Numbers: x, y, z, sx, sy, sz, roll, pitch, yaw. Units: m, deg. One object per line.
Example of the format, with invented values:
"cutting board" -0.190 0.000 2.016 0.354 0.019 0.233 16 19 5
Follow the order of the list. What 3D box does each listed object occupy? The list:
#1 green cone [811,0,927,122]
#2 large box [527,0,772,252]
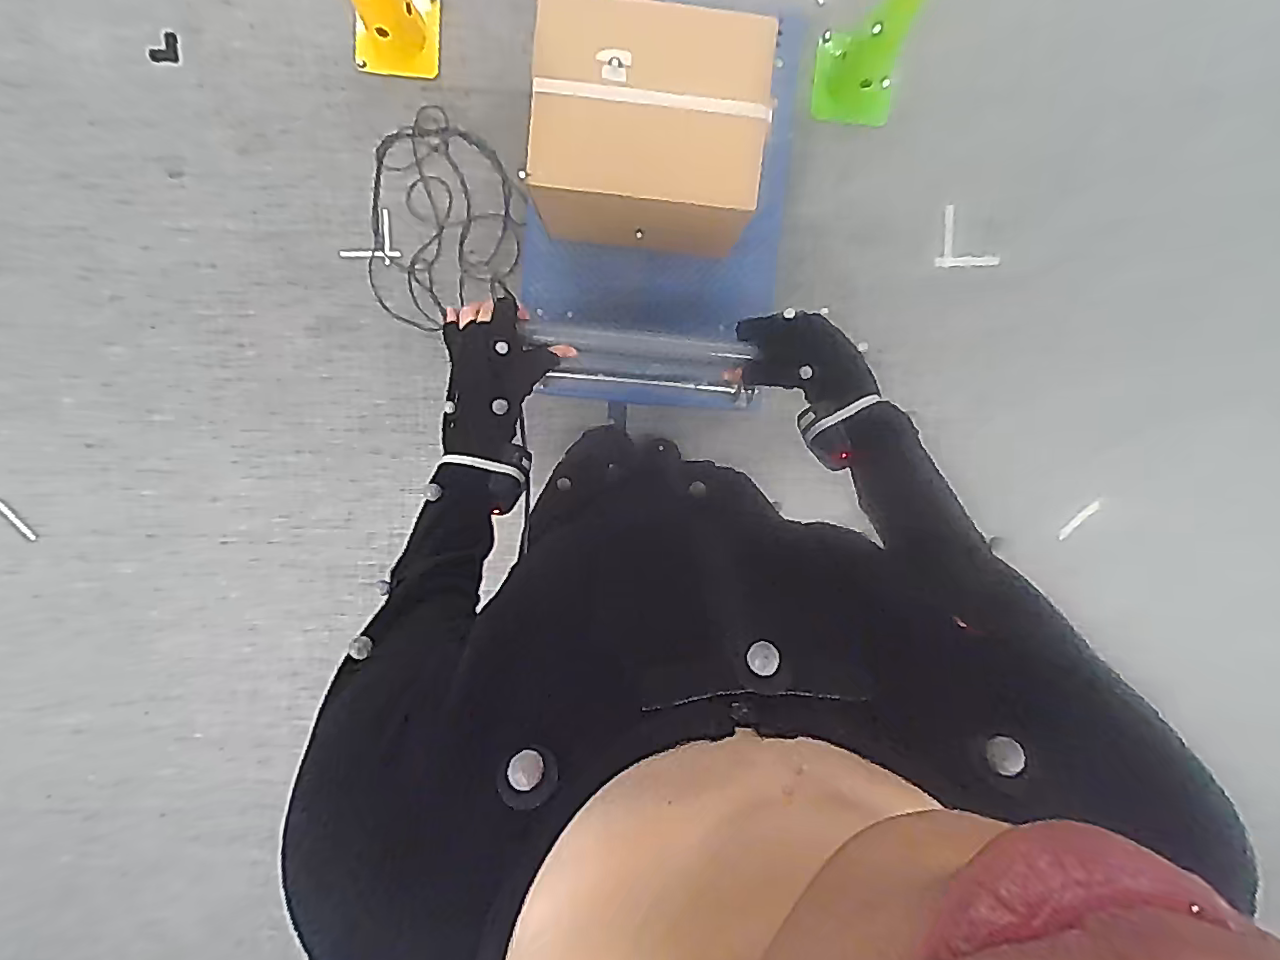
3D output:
"green cone" 0.543 -0.995 1.190 0.202 0.368 0.200 4 97 -4
"large box" 0.013 -0.663 1.070 0.408 0.320 0.320 6 97 -2
